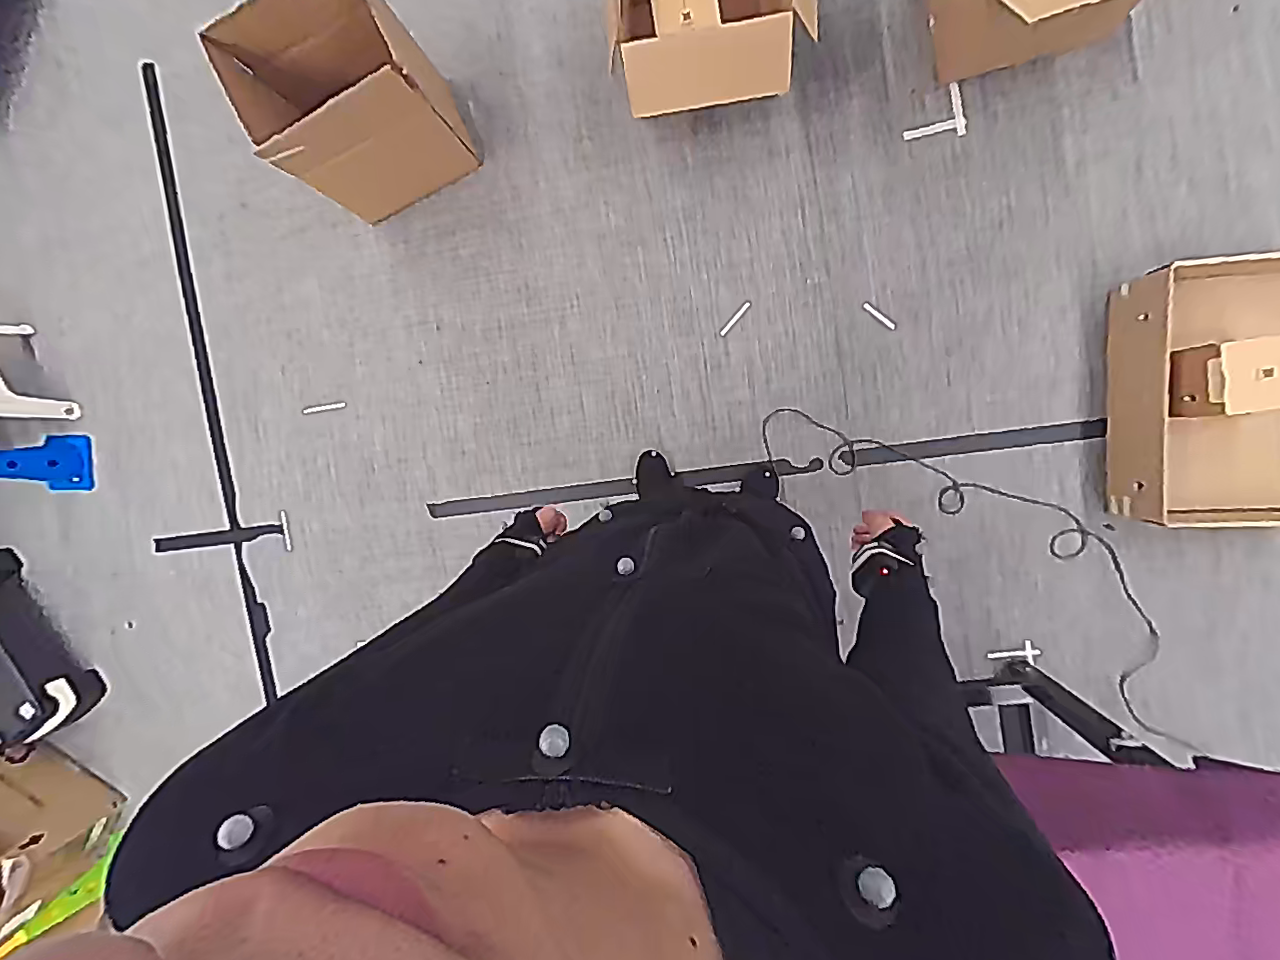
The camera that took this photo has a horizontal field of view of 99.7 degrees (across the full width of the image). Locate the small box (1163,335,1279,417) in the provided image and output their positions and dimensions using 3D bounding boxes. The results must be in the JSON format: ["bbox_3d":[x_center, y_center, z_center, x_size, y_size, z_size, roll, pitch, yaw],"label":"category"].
[{"bbox_3d":[1.397,-0.242,1.282,0.179,0.176,0.168,-7,95,9],"label":"small box"}]
